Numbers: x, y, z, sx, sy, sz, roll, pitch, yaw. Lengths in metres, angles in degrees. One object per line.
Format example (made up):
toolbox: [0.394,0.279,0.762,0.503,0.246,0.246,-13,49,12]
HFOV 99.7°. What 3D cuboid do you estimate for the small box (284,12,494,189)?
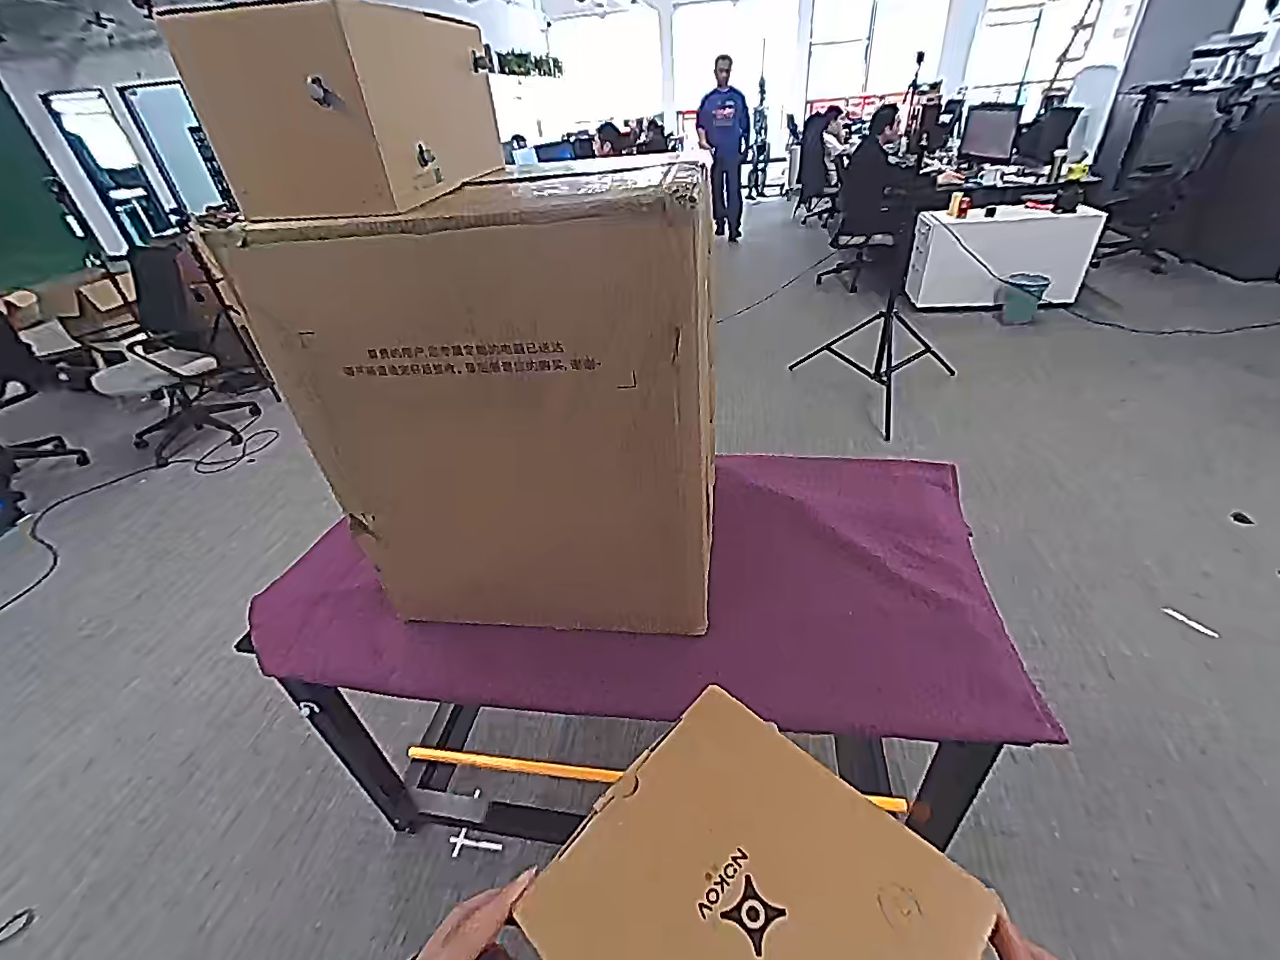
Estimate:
small box: [-0.306,-0.487,0.708,0.168,0.176,0.179,1,36,9]
